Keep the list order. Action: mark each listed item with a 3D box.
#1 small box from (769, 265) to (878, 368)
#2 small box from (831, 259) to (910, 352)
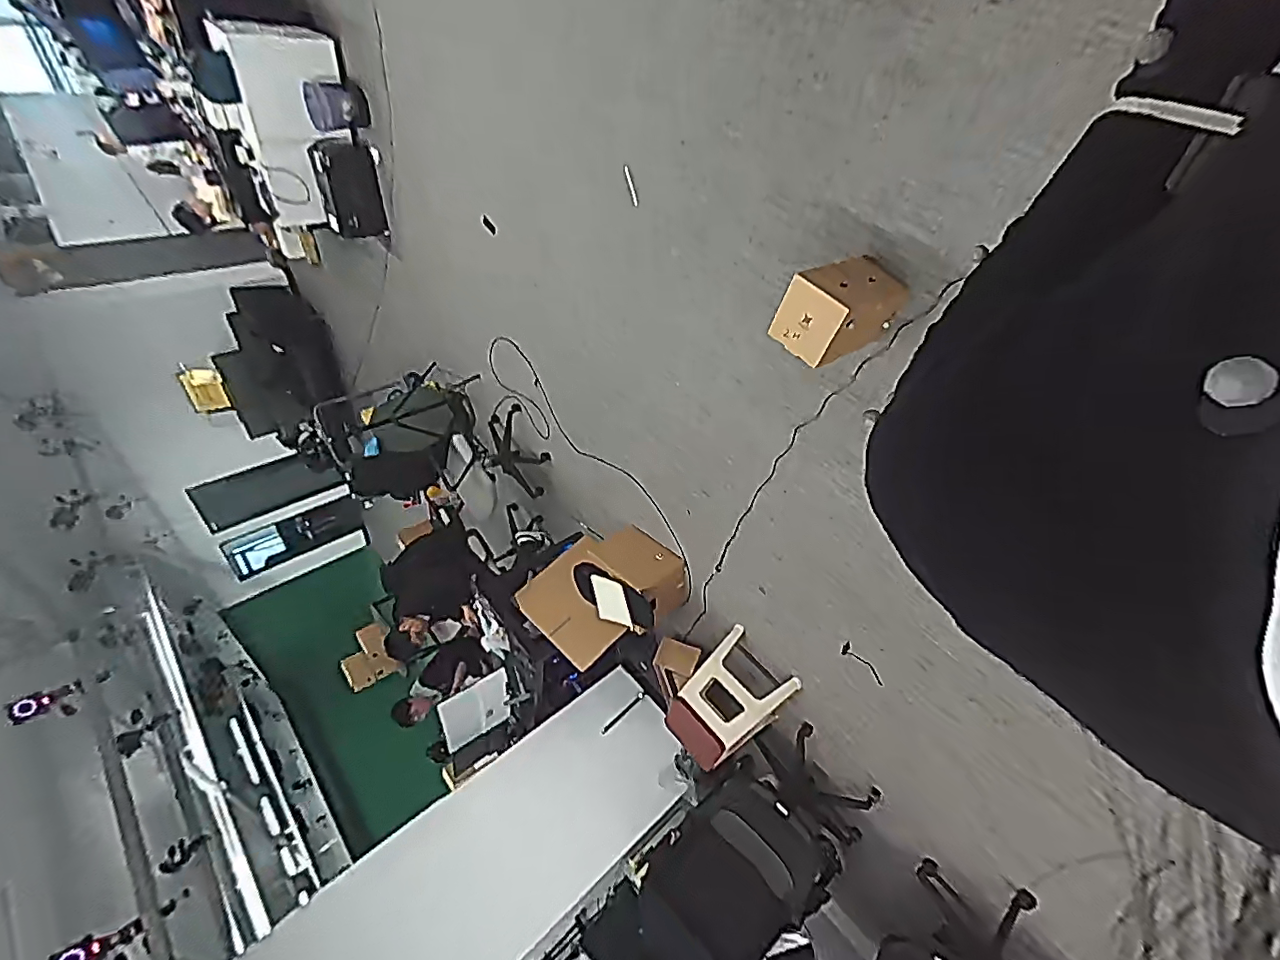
[{"bbox_3d":[0.466,-0.418,1.360,0.168,0.176,0.179,47,144,24],"label":"small box"},{"bbox_3d":[0.582,-0.477,1.461,0.179,0.176,0.168,48,144,20],"label":"small box"}]
